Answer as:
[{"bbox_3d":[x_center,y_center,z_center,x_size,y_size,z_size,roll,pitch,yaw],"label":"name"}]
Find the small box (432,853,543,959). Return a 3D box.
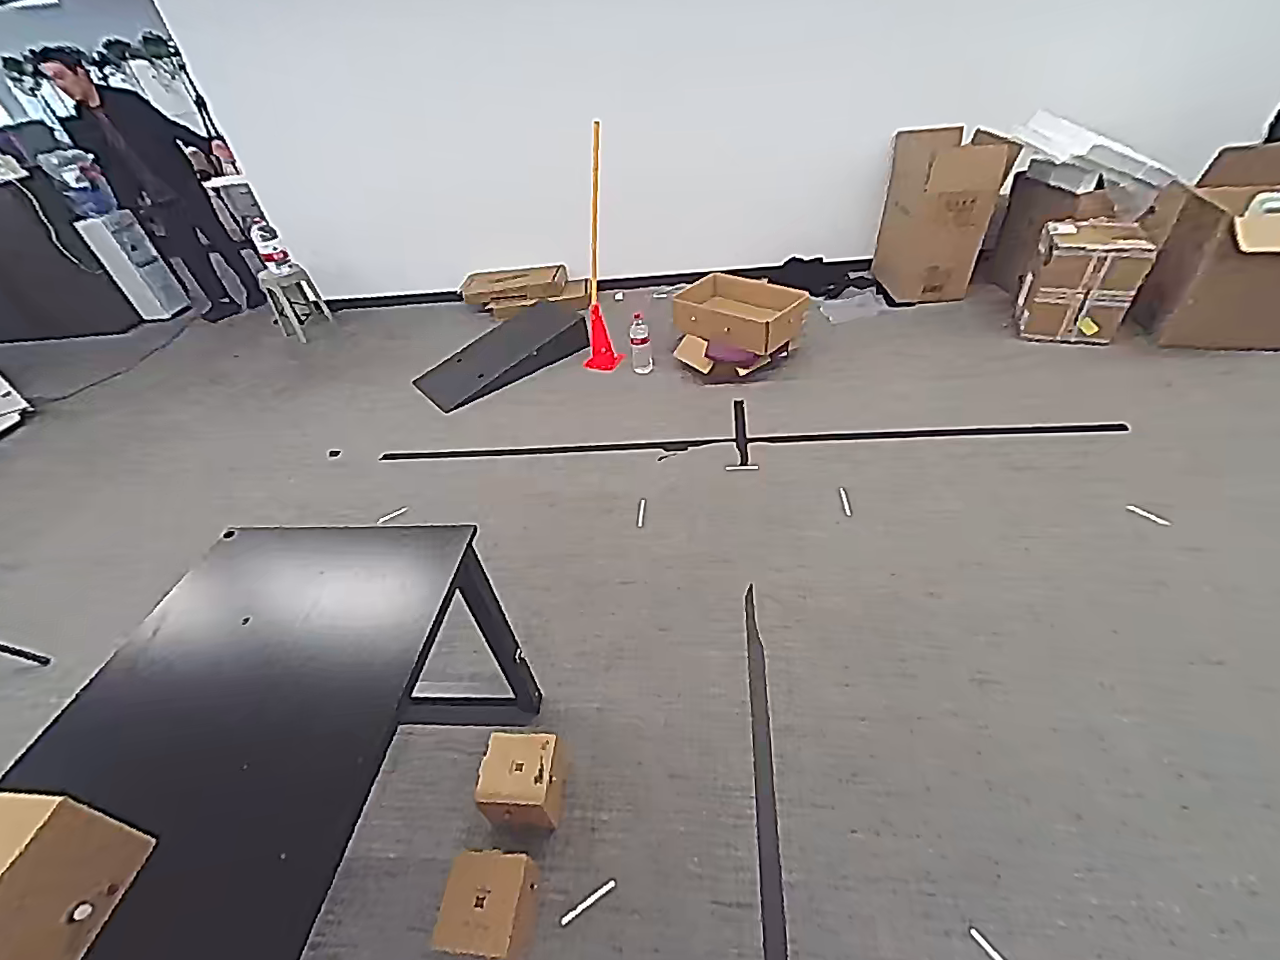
[{"bbox_3d":[-0.320,0.947,1.179,0.168,0.176,0.179,-2,41,8],"label":"small box"}]

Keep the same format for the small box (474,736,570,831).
[{"bbox_3d":[-0.292,0.773,1.375,0.179,0.176,0.168,-2,41,8],"label":"small box"}]

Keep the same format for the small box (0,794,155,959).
[{"bbox_3d":[-0.764,0.498,0.648,0.179,0.176,0.168,-1,40,7],"label":"small box"}]
